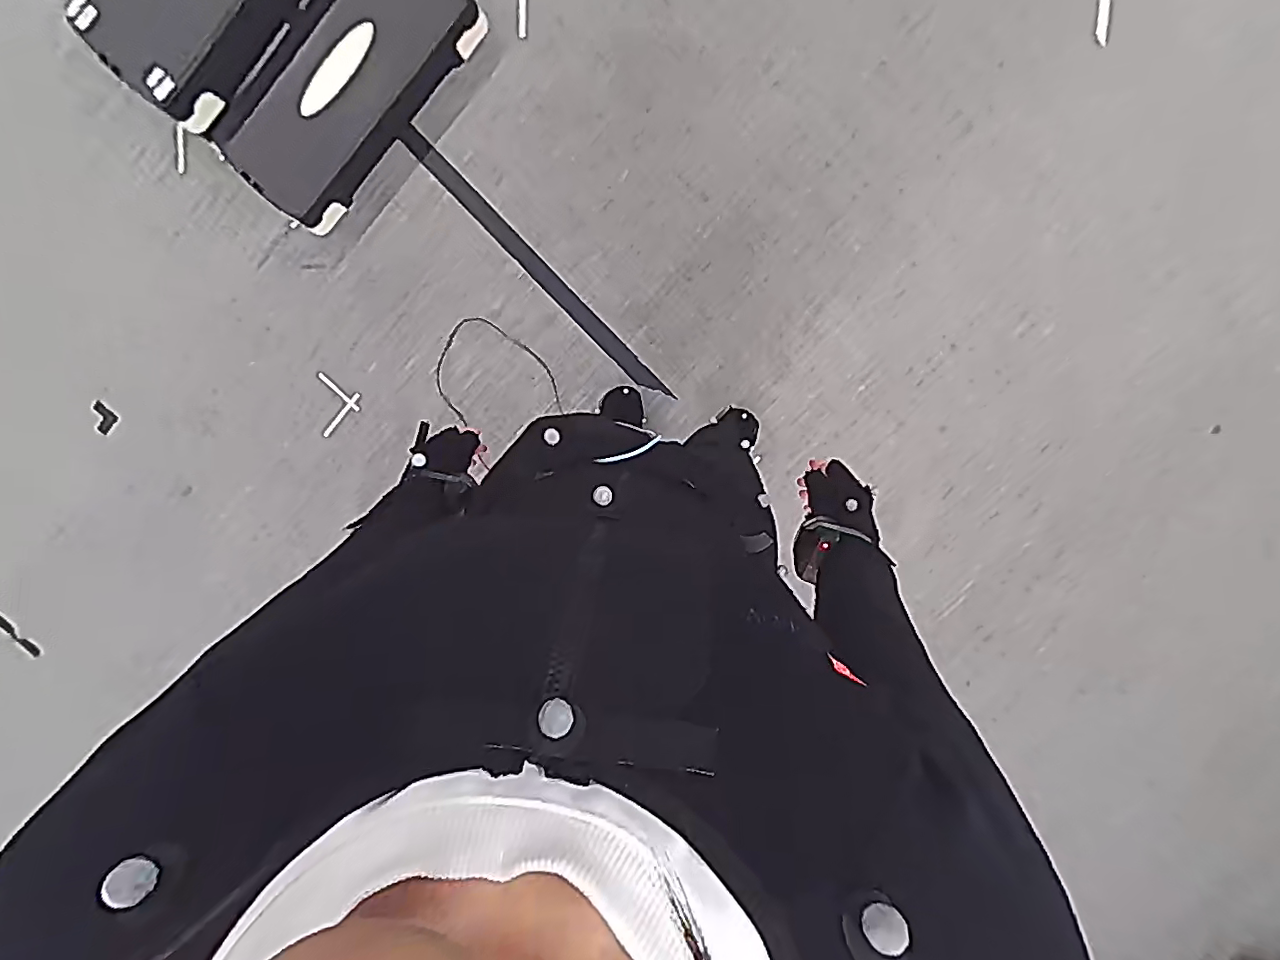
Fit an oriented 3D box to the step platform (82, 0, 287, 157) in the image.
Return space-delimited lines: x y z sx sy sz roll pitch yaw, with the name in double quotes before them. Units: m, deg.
"step platform" -0.869 -1.090 1.187 0.286 0.204 0.684 43 98 -6
